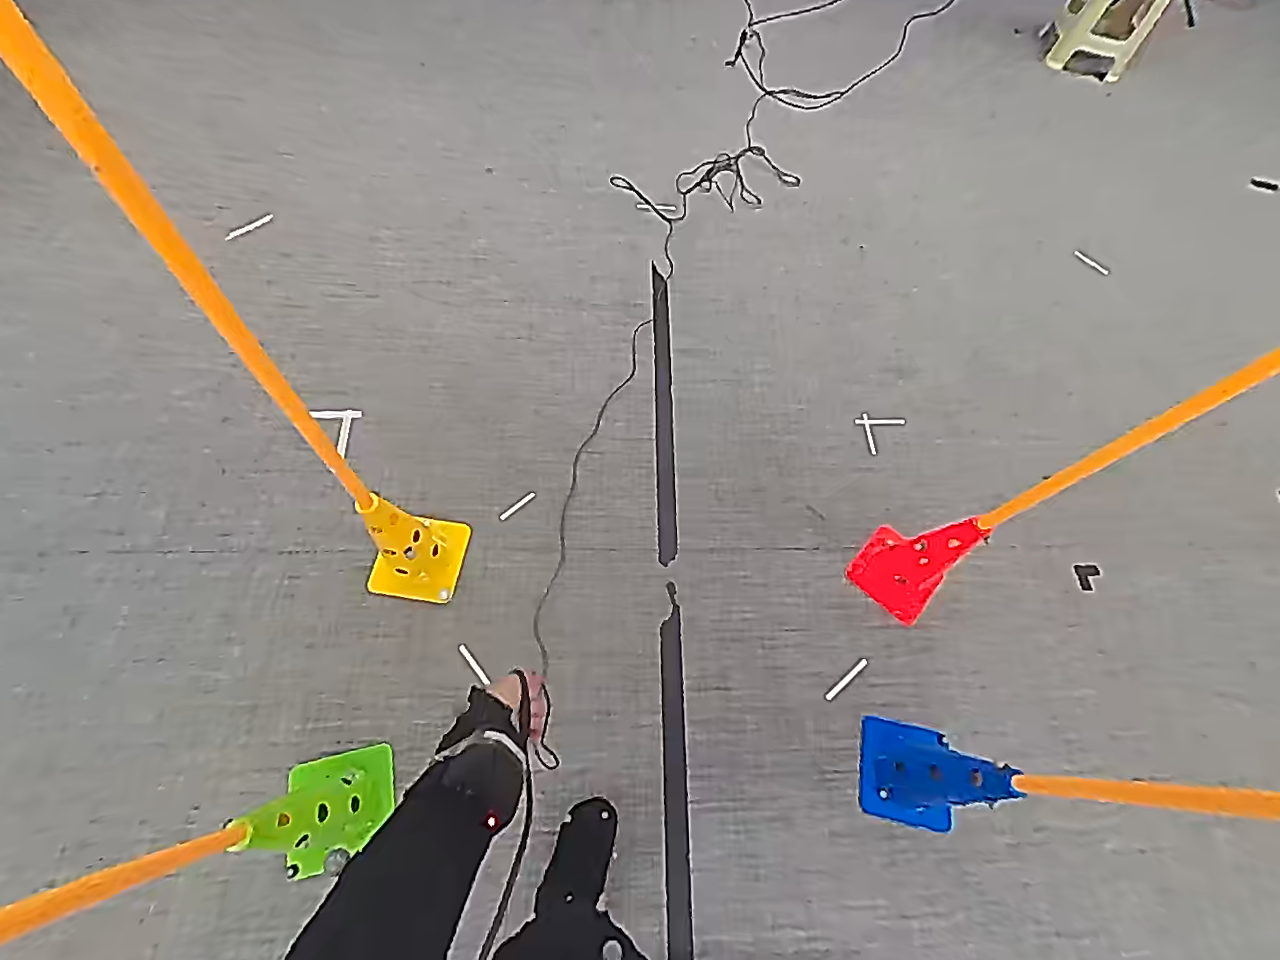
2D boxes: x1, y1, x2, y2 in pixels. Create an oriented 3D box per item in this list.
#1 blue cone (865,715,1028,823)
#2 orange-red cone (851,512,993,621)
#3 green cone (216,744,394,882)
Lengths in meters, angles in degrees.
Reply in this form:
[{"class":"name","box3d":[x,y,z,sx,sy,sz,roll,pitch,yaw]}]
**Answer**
[{"class":"blue cone","box3d":[0.597,0.555,1.035,0.193,0.380,0.192,14,63,2]},{"class":"orange-red cone","box3d":[0.668,0.158,1.220,0.198,0.360,0.199,42,69,16]},{"class":"green cone","box3d":[-0.578,0.570,0.910,0.200,0.368,0.202,-12,64,-11]}]
